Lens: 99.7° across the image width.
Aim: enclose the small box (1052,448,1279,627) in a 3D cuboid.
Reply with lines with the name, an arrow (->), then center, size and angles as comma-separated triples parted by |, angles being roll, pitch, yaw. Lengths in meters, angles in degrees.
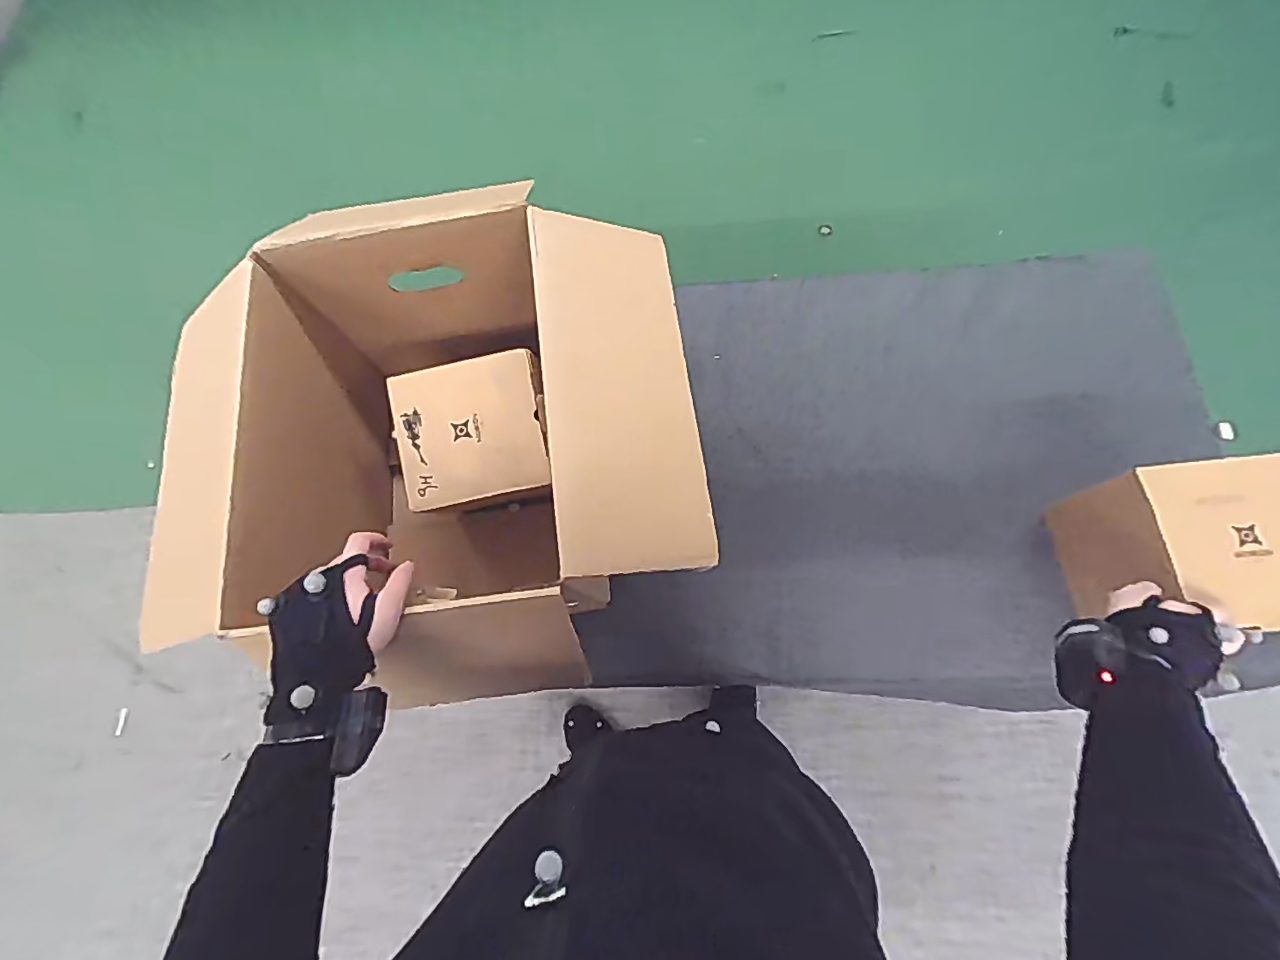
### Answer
small box -> 0.635, 0.077, 0.630 | 0.168, 0.176, 0.179 | -6, 72, 4
